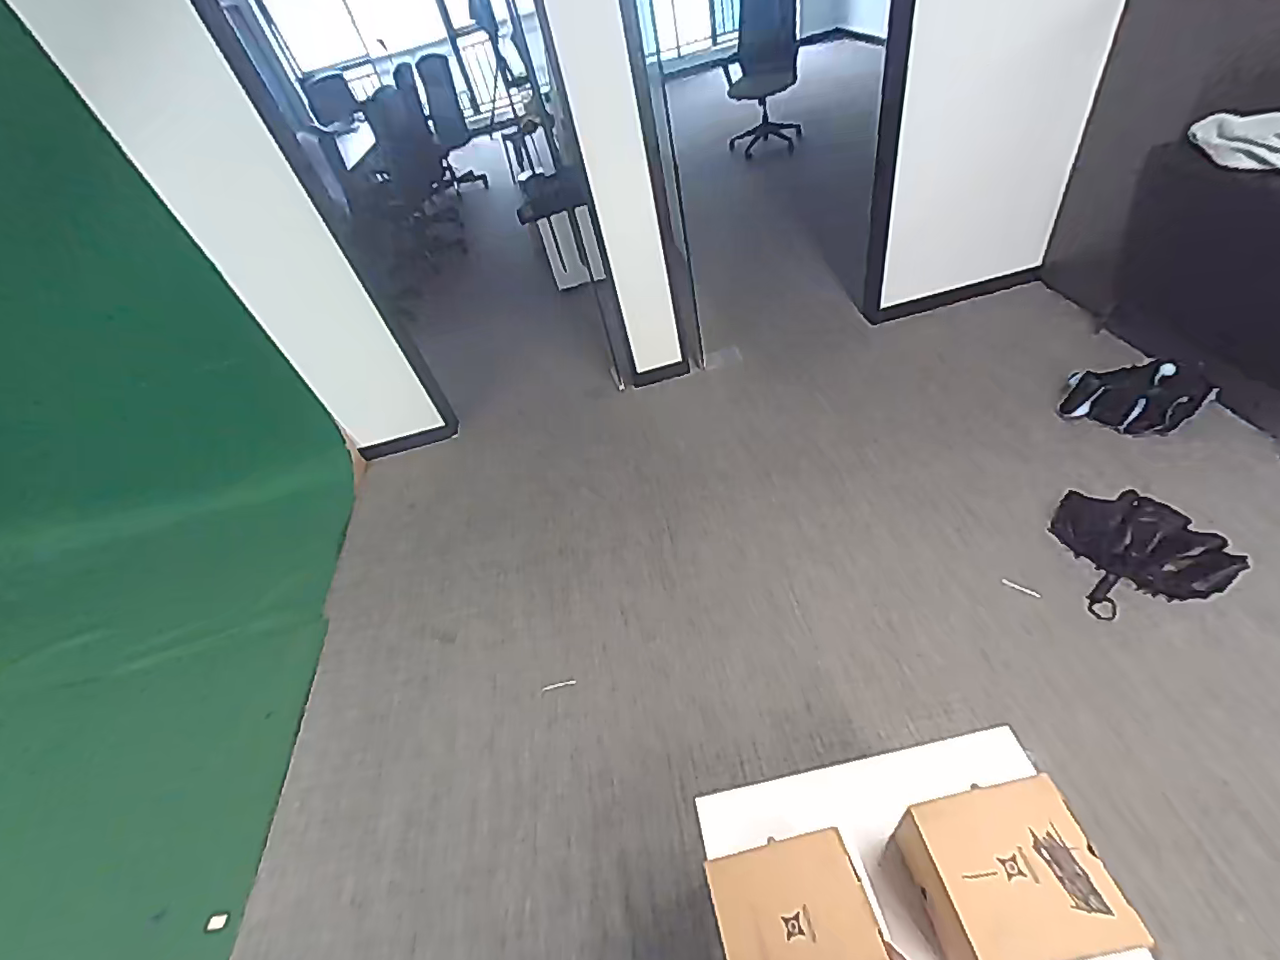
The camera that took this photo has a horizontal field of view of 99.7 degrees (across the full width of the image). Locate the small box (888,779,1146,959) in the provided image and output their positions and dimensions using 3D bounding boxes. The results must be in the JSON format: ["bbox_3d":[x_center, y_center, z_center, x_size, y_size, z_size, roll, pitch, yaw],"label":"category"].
[{"bbox_3d":[0.431,0.492,0.658,0.179,0.176,0.168,-14,44,1],"label":"small box"}]

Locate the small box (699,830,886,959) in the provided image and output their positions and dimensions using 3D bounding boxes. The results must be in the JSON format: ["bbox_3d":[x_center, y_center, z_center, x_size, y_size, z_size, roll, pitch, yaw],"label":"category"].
[{"bbox_3d":[0.180,0.556,0.650,0.179,0.176,0.168,-15,41,-2],"label":"small box"}]
